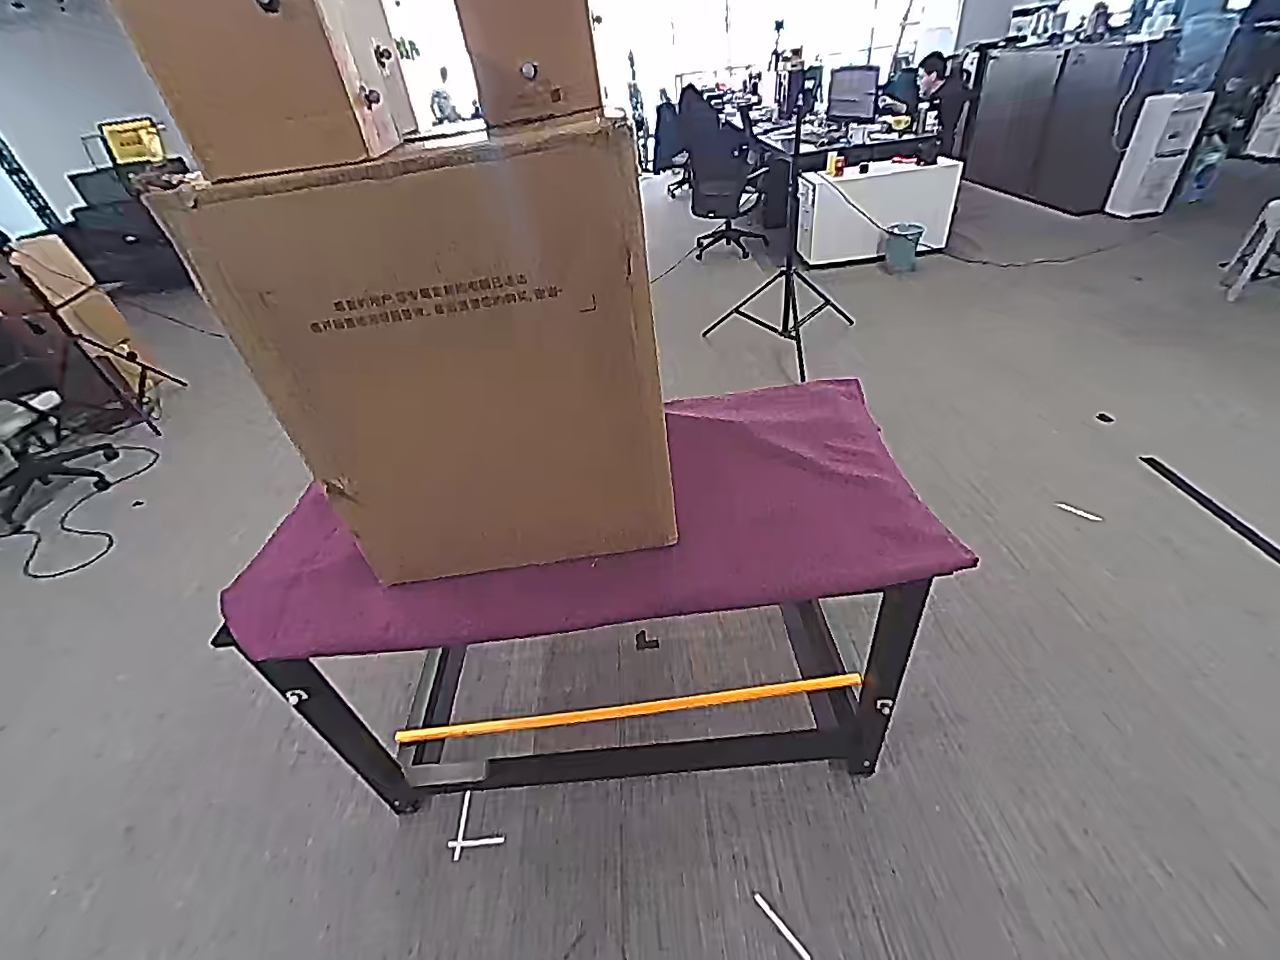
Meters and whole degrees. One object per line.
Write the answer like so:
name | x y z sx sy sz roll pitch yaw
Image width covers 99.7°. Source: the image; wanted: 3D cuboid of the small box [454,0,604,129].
small box | -0.145 -0.600 0.750 0.168 0.176 0.179 -8 38 3
